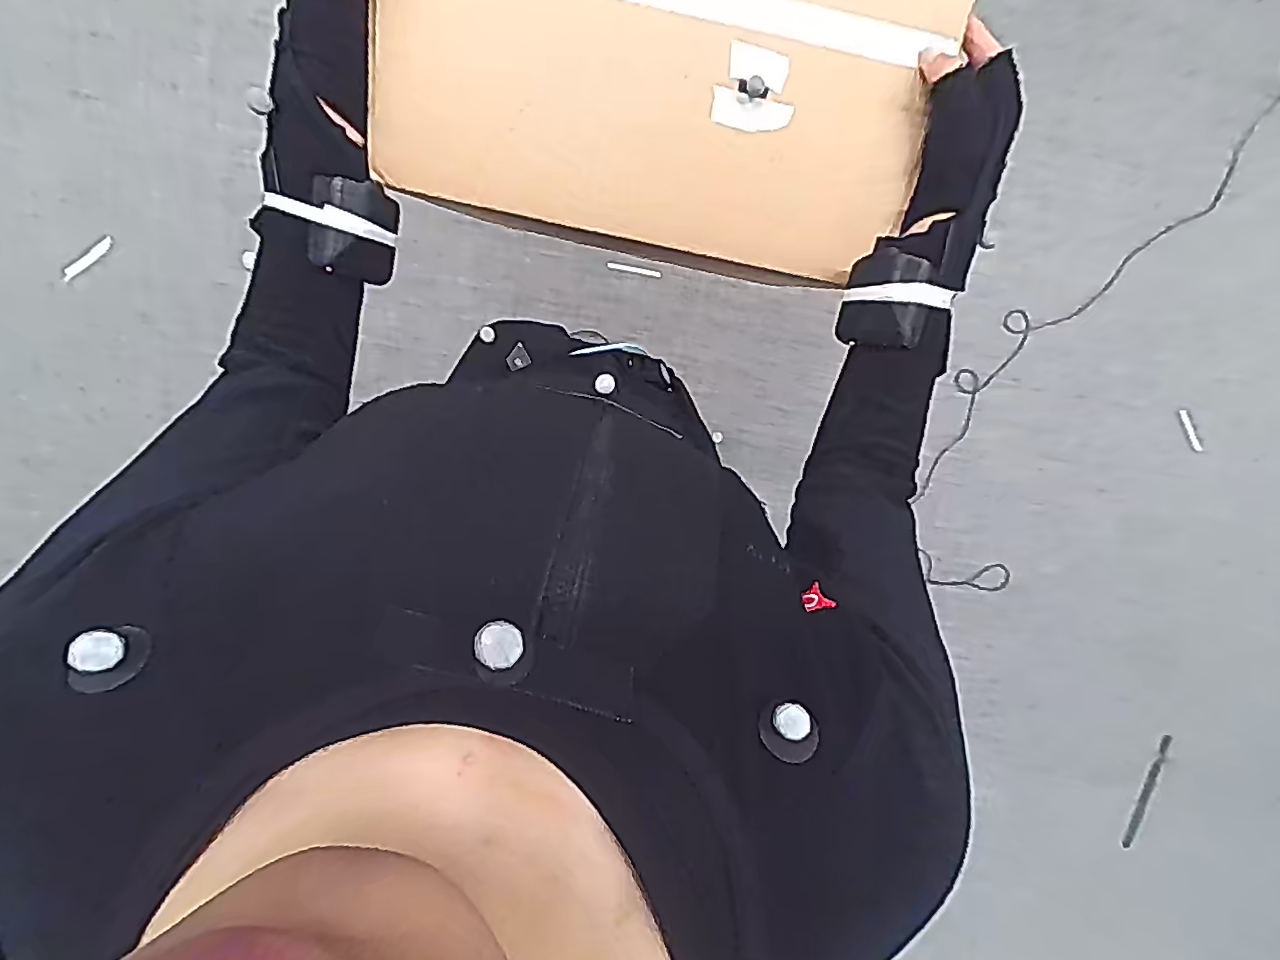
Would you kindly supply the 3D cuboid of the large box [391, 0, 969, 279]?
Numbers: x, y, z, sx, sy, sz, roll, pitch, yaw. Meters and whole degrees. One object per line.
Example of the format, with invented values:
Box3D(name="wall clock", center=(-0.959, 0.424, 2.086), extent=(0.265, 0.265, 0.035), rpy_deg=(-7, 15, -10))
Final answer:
Box3D(name="large box", center=(0.024, -0.389, 0.516), extent=(0.408, 0.320, 0.320), rpy_deg=(10, 112, -6))
